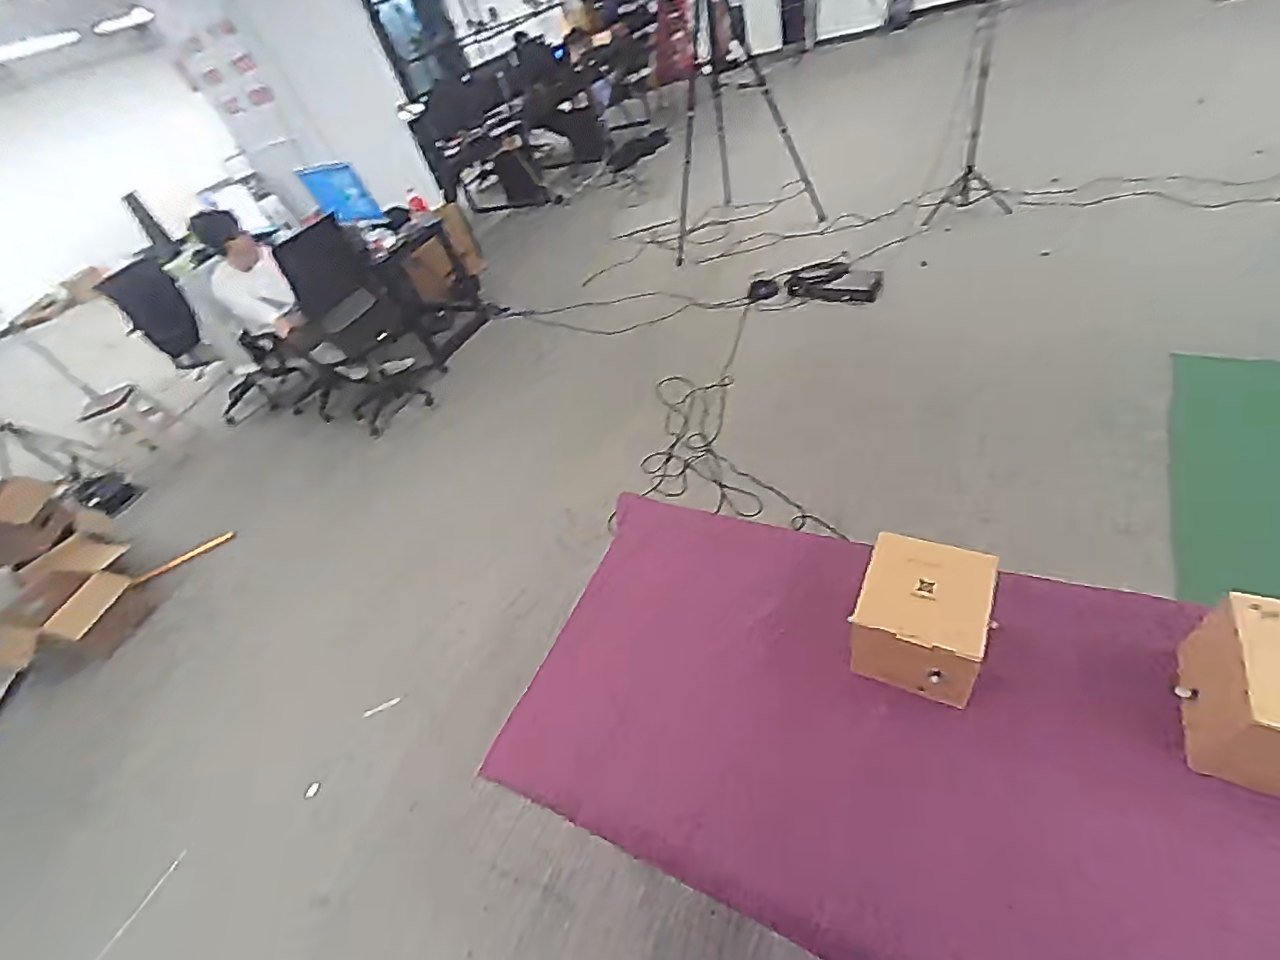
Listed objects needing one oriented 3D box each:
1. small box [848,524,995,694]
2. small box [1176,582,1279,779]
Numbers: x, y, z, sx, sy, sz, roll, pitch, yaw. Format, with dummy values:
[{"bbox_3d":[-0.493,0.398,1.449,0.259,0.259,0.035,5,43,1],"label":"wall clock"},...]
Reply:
[{"bbox_3d":[0.433,0.202,0.841,0.168,0.176,0.179,13,53,30],"label":"small box"},{"bbox_3d":[0.787,0.255,0.647,0.168,0.176,0.179,10,53,30],"label":"small box"}]
